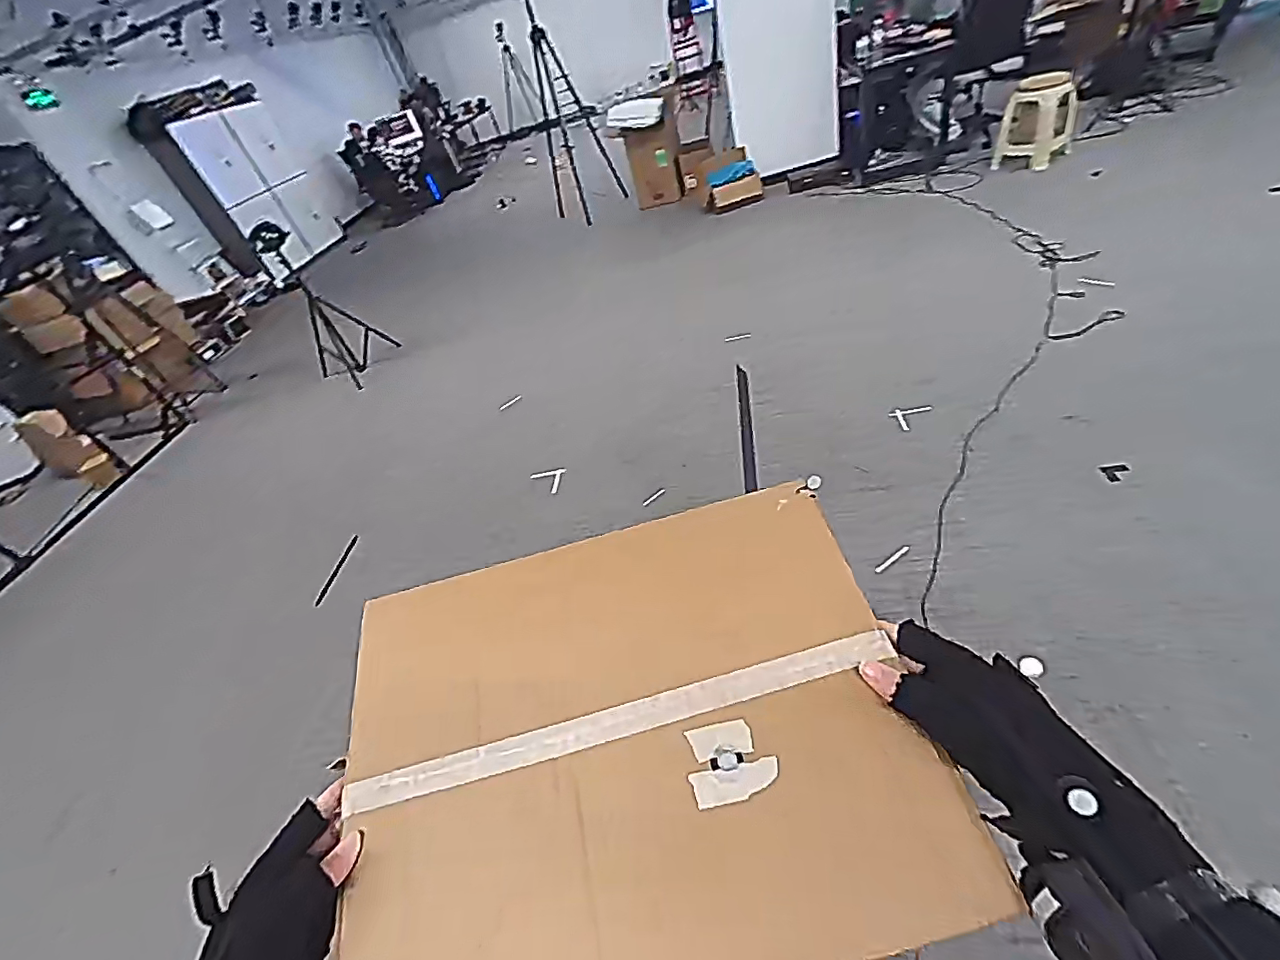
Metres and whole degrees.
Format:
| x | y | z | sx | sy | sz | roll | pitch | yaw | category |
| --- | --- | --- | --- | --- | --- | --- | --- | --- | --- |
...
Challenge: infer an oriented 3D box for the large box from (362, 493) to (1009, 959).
| x | y | z | sx | sy | sz | roll | pitch | yaw | category |
| --- | --- | --- | --- | --- | --- | --- | --- | --- | --- |
| 0.016 | 0.269 | 0.518 | 0.408 | 0.320 | 0.320 | -15 | 53 | -1 | large box |
